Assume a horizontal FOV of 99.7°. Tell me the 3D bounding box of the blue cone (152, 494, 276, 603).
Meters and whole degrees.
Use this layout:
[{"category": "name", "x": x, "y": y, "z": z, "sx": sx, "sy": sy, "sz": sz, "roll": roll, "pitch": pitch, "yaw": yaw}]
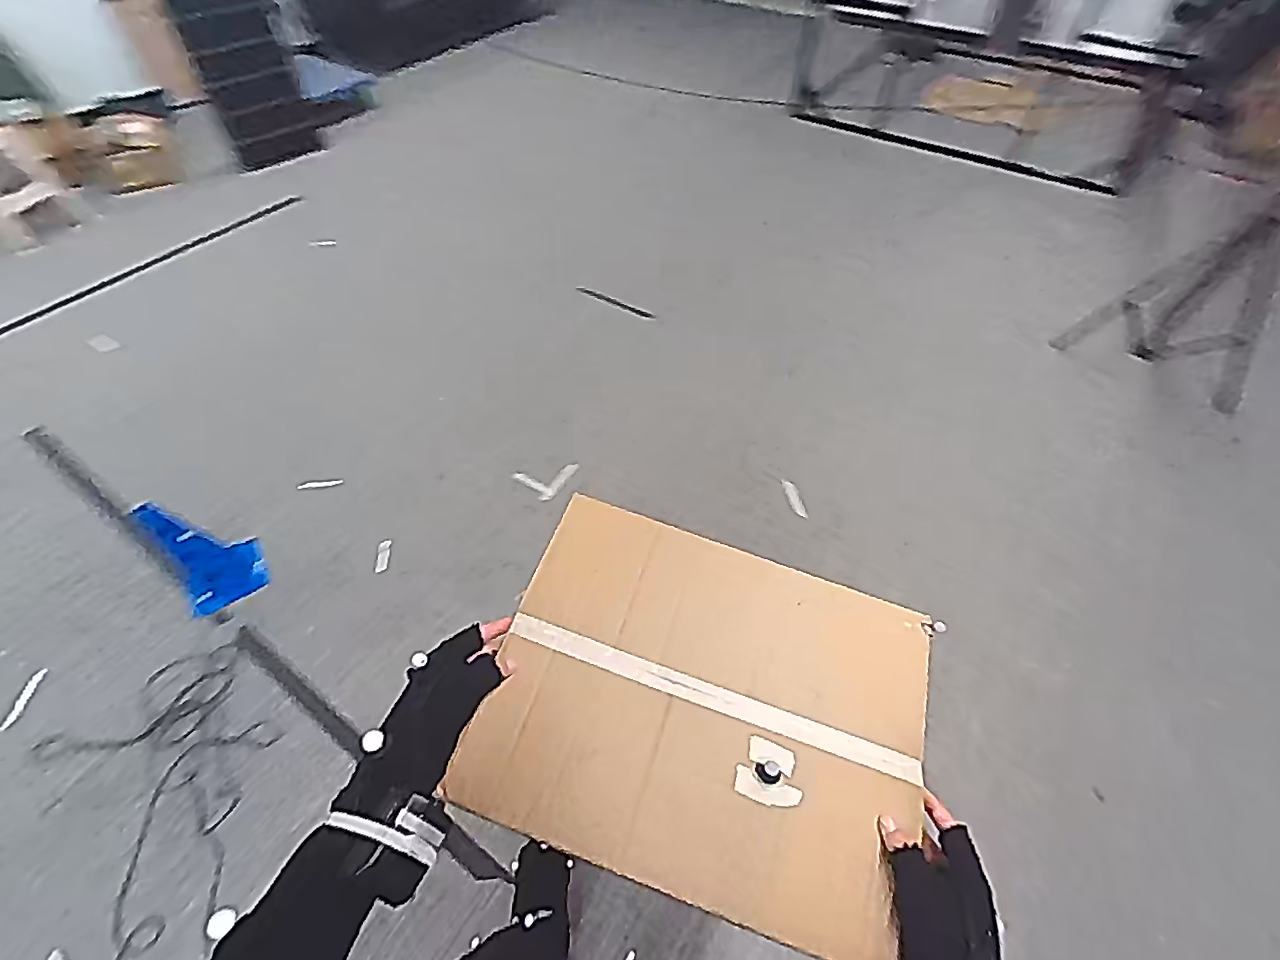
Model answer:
[{"category": "blue cone", "x": -1.216, "y": 0.168, "z": 1.511, "sx": 0.193, "sy": 0.380, "sz": 0.192, "roll": -28, "pitch": 58, "yaw": -20}]
